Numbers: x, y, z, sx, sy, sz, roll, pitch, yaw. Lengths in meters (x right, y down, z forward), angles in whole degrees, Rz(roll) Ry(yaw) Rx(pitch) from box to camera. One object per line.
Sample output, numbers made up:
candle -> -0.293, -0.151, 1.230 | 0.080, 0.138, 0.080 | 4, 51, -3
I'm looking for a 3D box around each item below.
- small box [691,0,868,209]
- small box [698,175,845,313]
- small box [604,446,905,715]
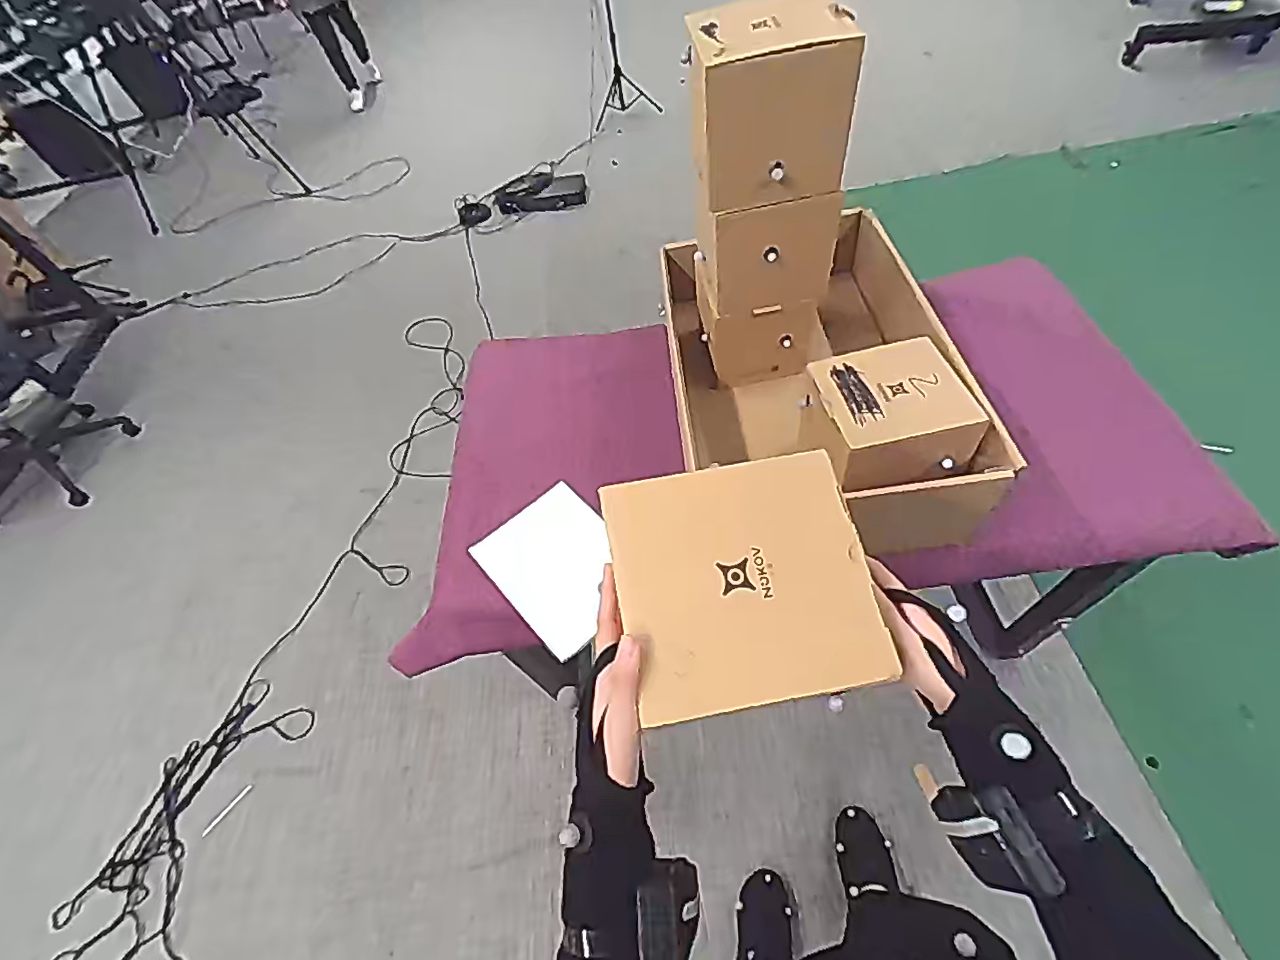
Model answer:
small box -> 0.161, -0.476, 0.690 | 0.179, 0.176, 0.168 | -7, 55, 3
small box -> 0.186, -0.381, 0.822 | 0.179, 0.176, 0.168 | -10, 55, 3
small box -> 0.071, 0.091, 0.441 | 0.179, 0.176, 0.168 | -9, 68, -6
